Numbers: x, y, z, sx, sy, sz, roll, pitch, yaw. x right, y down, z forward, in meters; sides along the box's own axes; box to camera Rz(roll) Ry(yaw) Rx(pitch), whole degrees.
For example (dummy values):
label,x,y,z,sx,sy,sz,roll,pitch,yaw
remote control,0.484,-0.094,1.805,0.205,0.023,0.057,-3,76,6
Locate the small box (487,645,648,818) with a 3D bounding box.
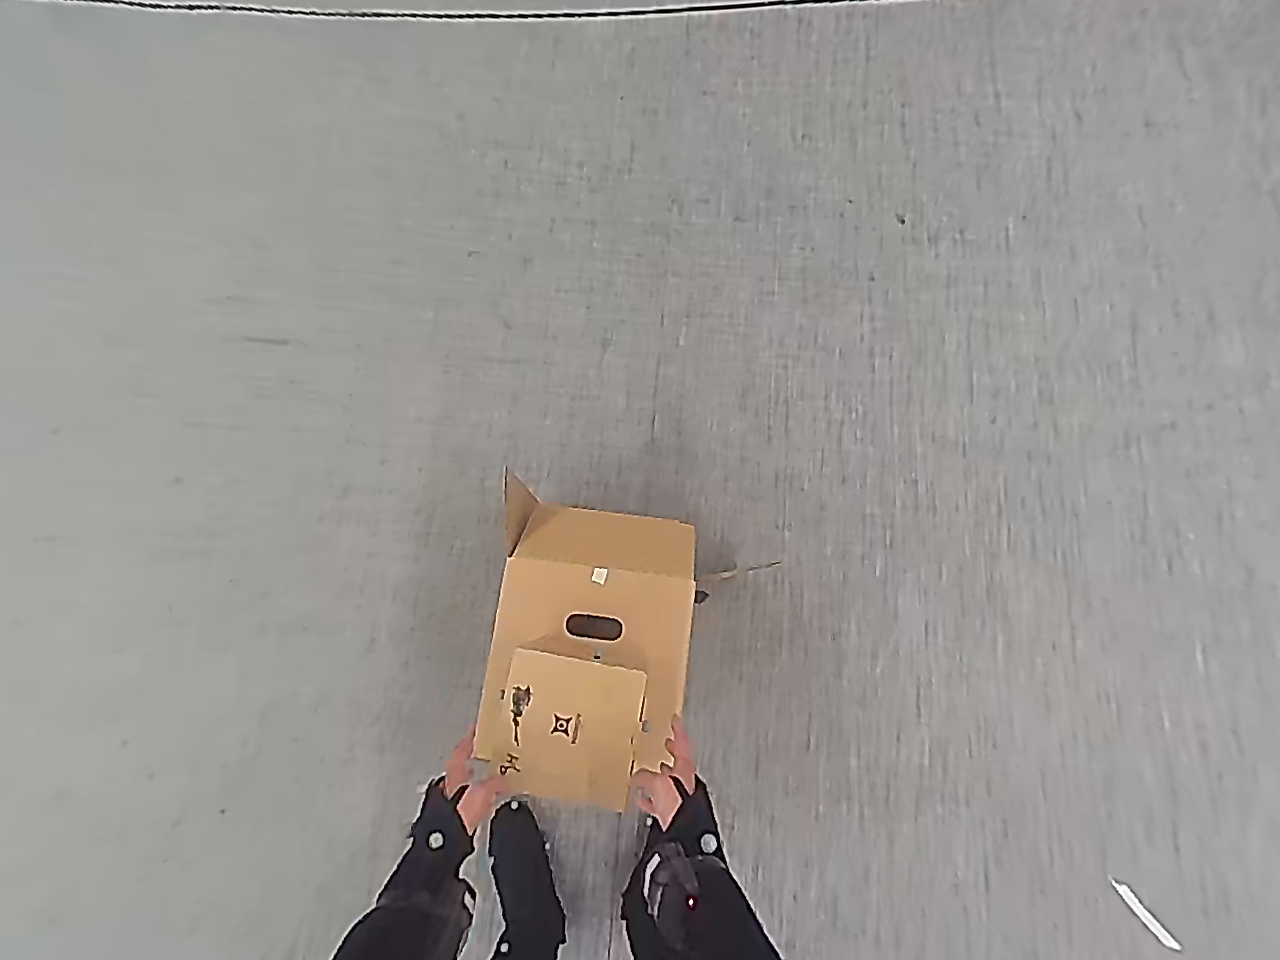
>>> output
label,x,y,z,sx,sy,sz,roll,pitch,yaw
small box,-0.089,0.333,0.753,0.179,0.176,0.168,10,79,2
